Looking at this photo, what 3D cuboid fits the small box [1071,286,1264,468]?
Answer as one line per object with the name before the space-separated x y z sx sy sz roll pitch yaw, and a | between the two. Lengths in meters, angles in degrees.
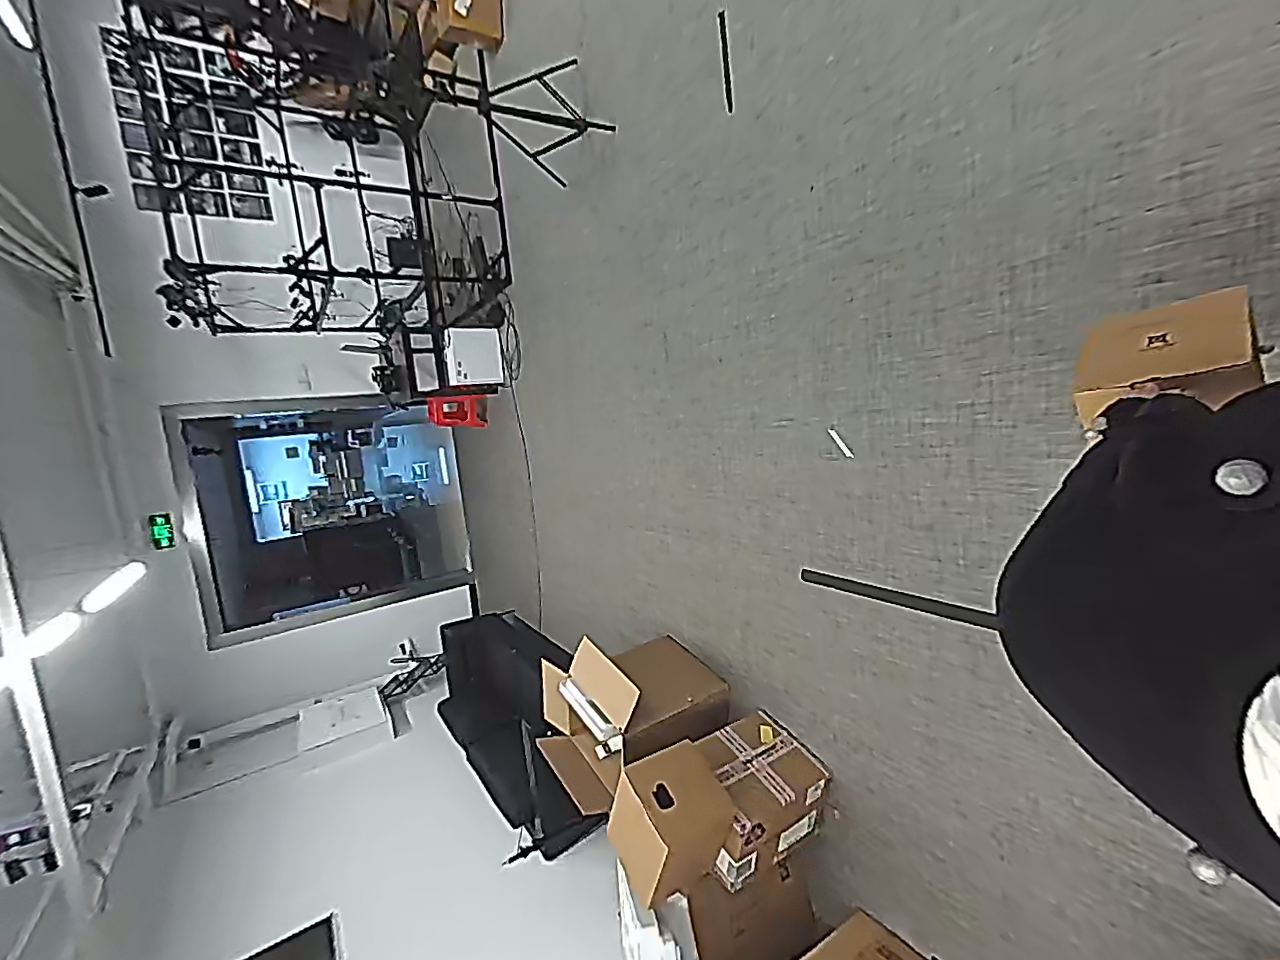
small box | 0.730 -0.128 0.750 0.168 0.179 0.176 -6 129 50
